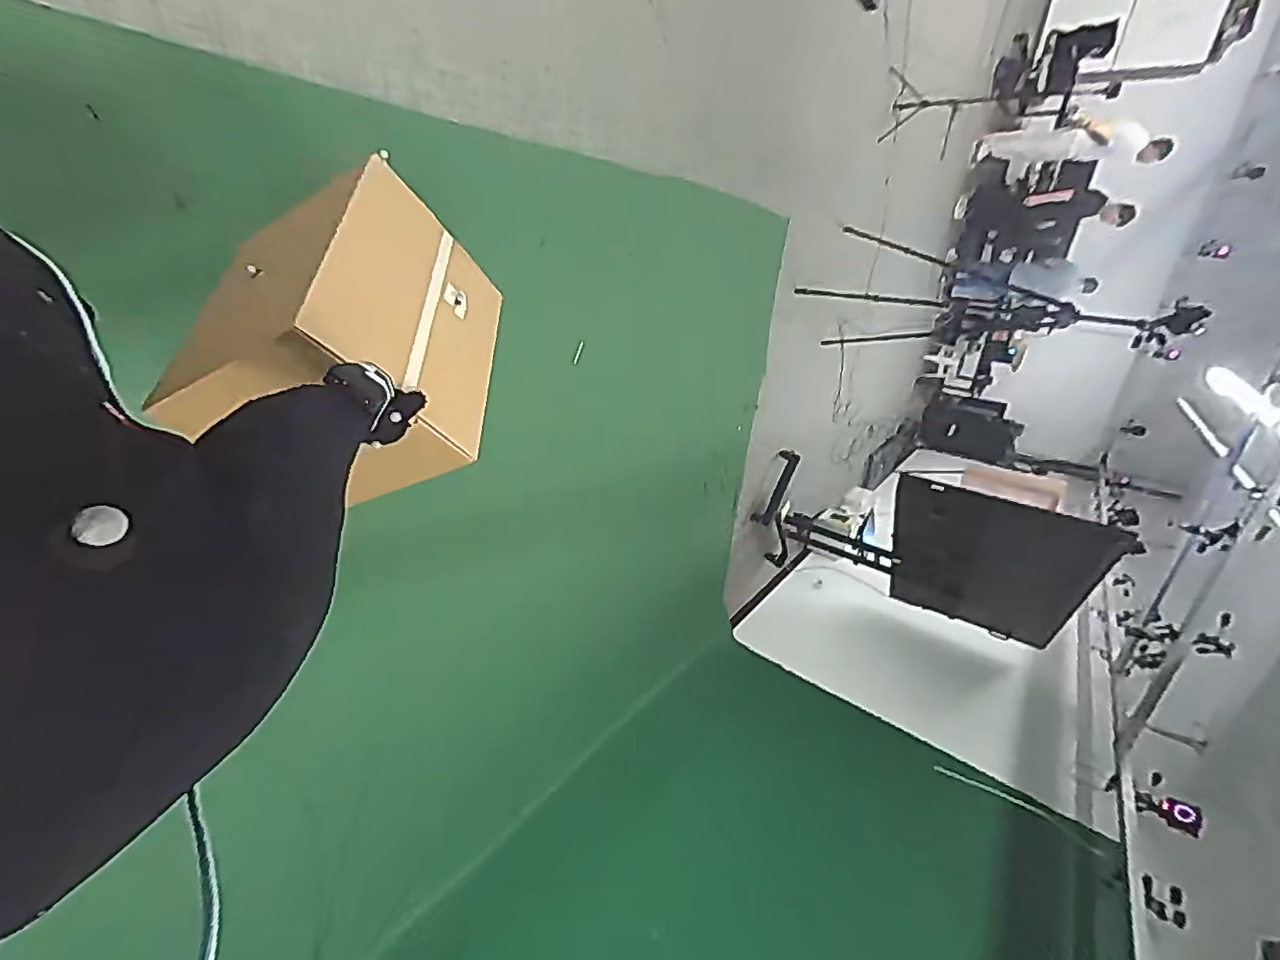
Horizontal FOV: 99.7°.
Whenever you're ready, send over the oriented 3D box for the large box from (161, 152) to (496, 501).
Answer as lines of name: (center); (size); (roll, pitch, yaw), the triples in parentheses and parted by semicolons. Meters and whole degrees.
large box: (-0.476, -0.233, 0.906); (0.320, 0.320, 0.408); (47, 33, -50)
